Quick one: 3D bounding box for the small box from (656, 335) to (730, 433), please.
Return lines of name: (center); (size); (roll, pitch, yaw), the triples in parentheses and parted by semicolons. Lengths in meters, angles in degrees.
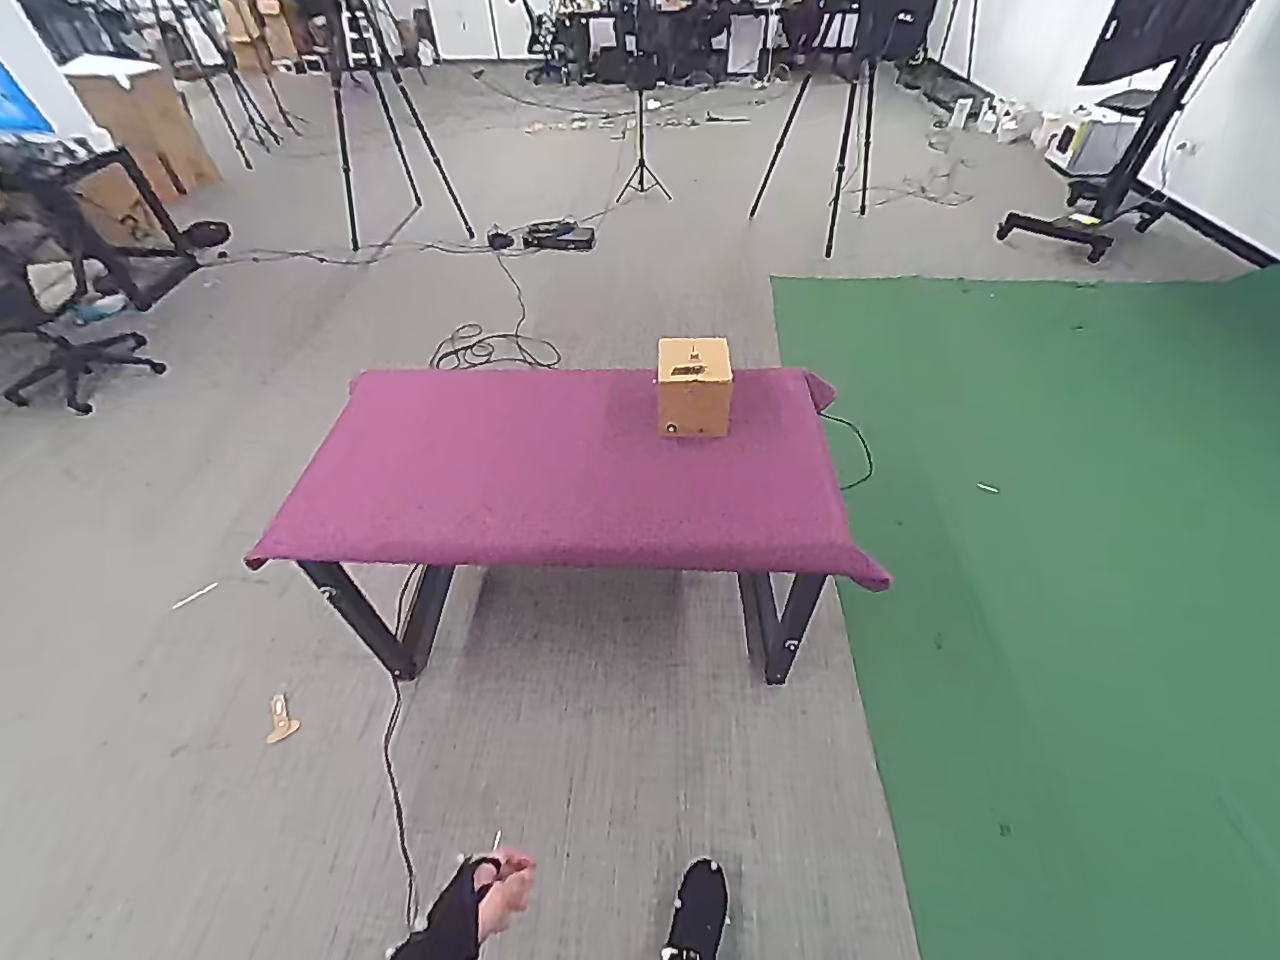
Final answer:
small box: (0.124, -0.227, 1.296); (0.168, 0.176, 0.179); (1, 46, 3)
